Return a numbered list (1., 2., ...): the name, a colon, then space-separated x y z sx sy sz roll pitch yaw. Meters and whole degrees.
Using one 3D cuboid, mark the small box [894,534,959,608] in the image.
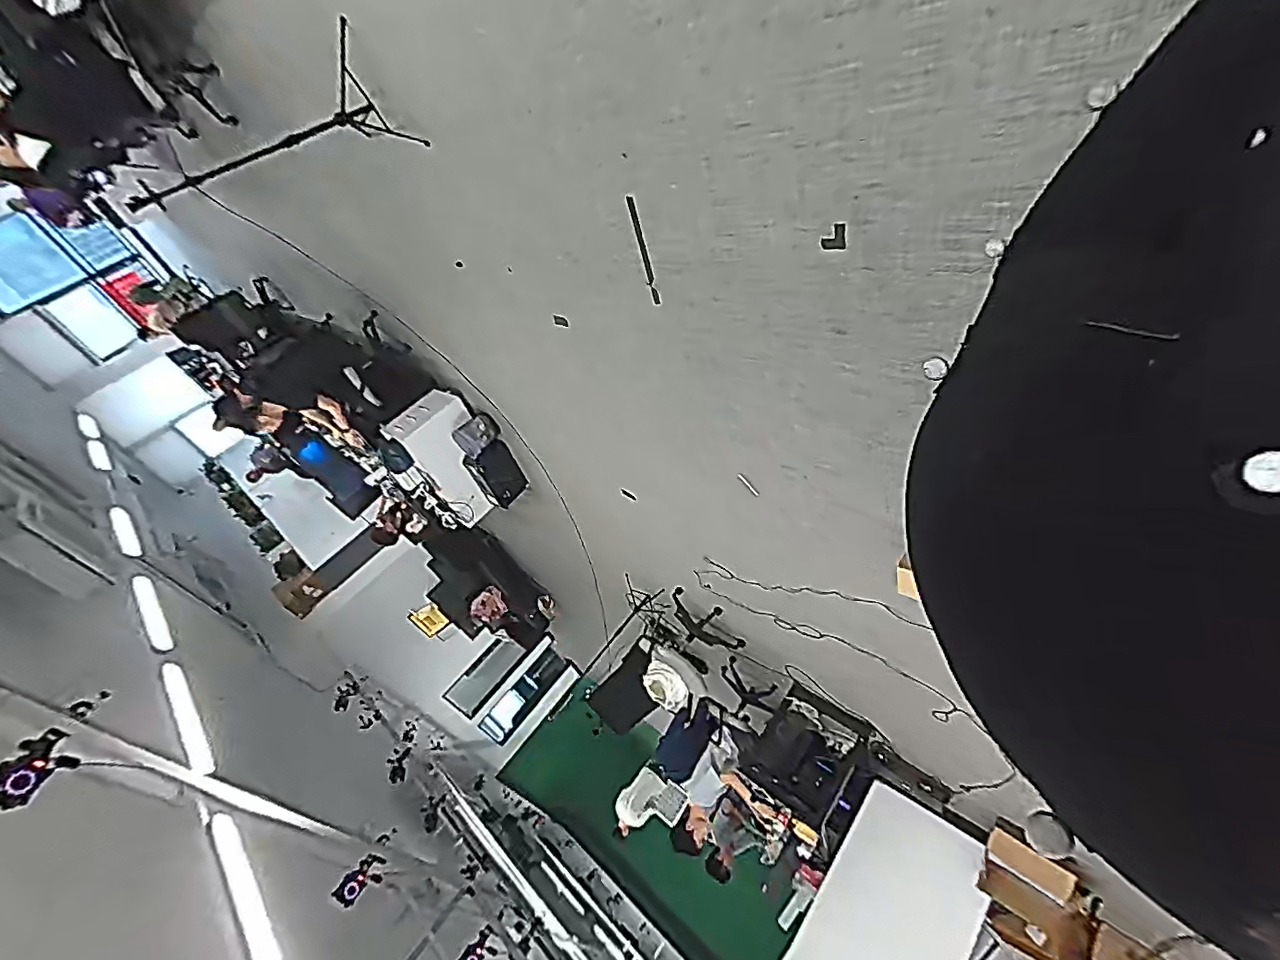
1. small box: 1.062 0.335 2.003 0.168 0.176 0.179 20 146 40
